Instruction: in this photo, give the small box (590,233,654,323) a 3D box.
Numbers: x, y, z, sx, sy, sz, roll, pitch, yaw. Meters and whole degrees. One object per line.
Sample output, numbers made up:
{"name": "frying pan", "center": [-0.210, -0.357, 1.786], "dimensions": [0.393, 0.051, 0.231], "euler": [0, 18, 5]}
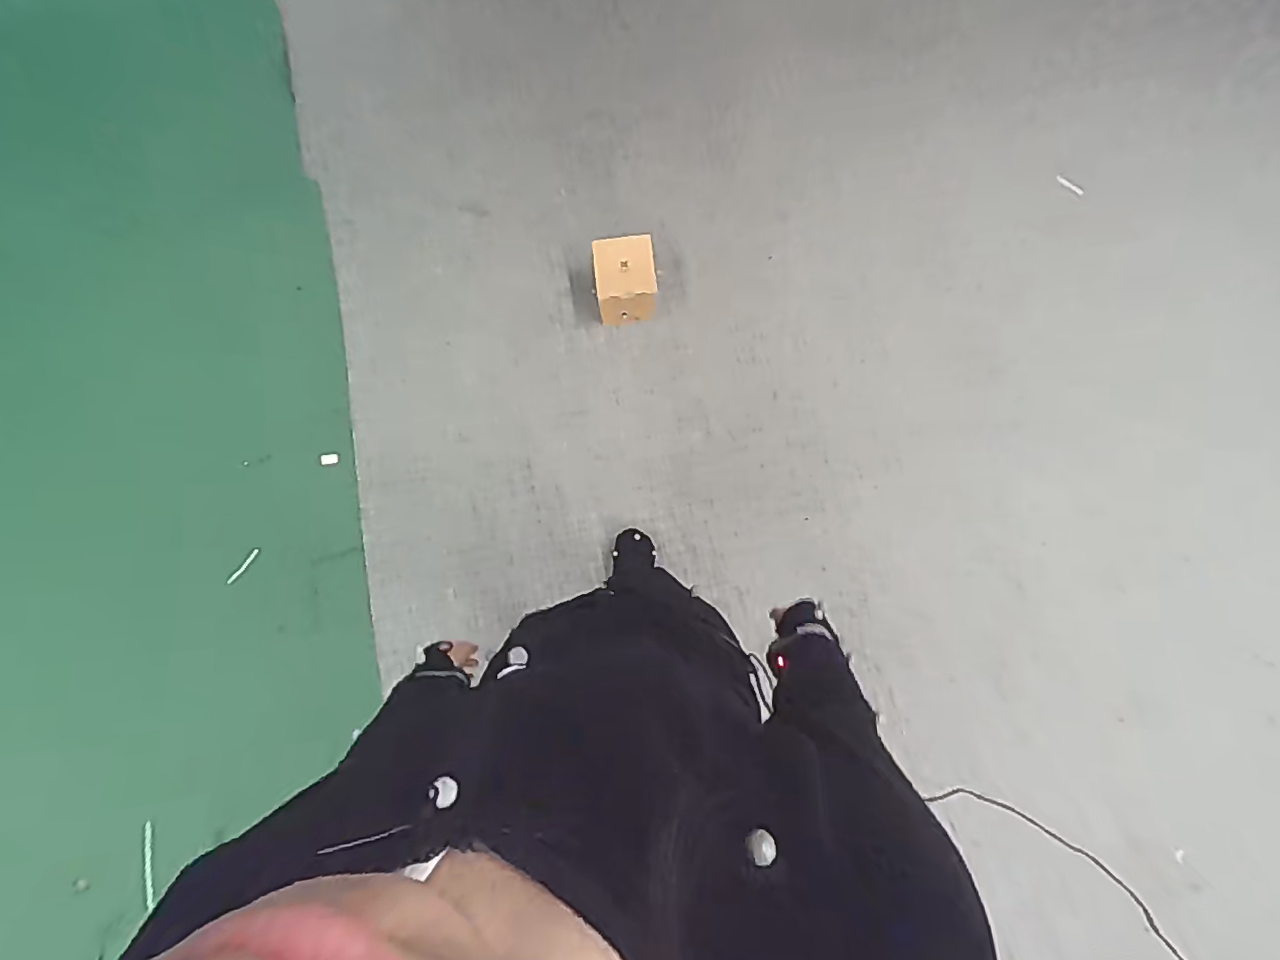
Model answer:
{"name": "small box", "center": [-0.052, -0.577, 1.558], "dimensions": [0.168, 0.176, 0.179], "euler": [-7, 81, -1]}
